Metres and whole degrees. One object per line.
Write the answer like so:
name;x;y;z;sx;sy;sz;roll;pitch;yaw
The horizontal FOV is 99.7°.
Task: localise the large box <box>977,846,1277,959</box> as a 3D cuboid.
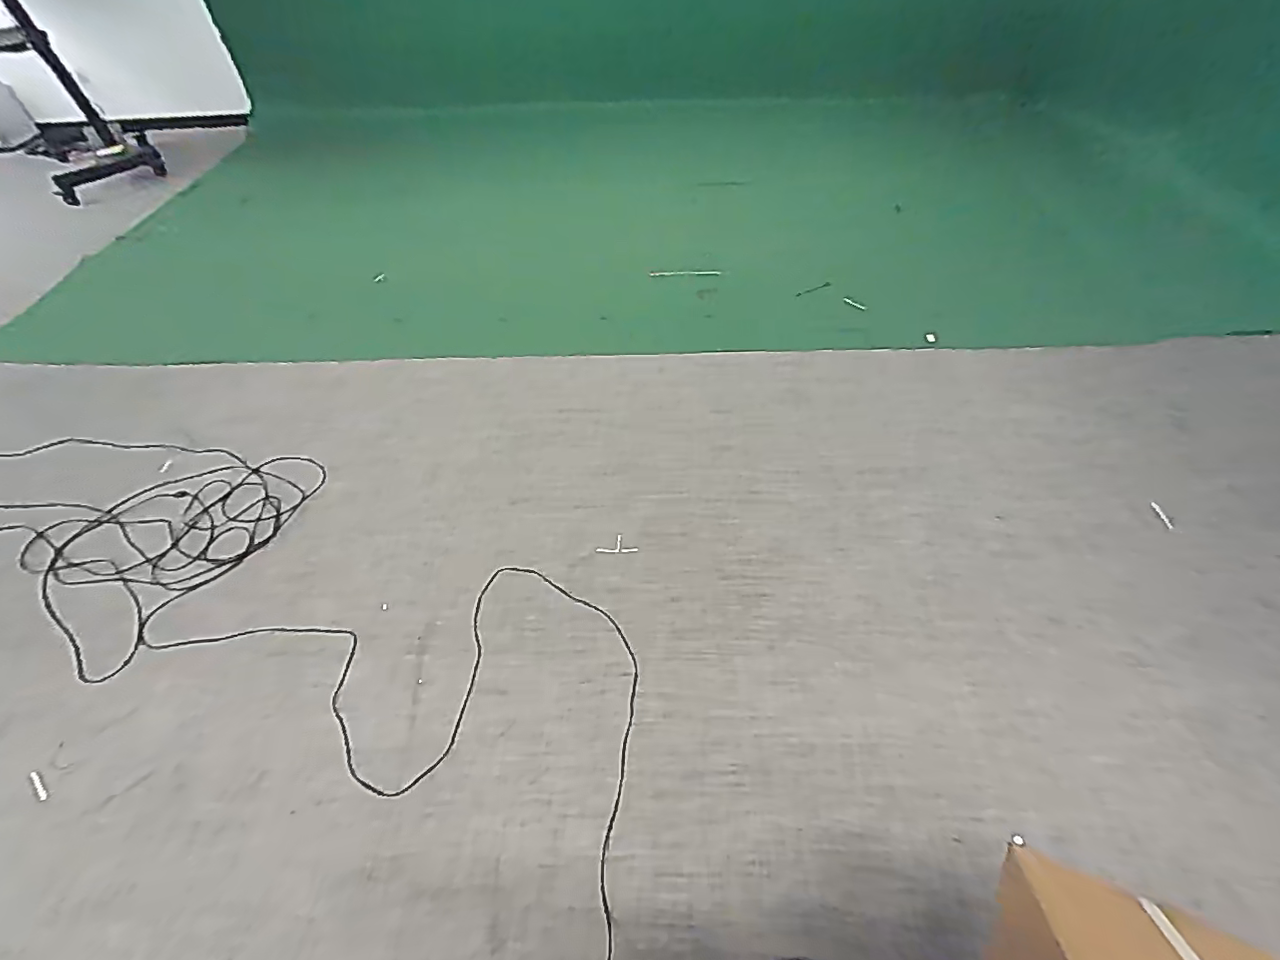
large box;0.577;0.711;0.568;0.320;0.408;0.320;16;92;21
